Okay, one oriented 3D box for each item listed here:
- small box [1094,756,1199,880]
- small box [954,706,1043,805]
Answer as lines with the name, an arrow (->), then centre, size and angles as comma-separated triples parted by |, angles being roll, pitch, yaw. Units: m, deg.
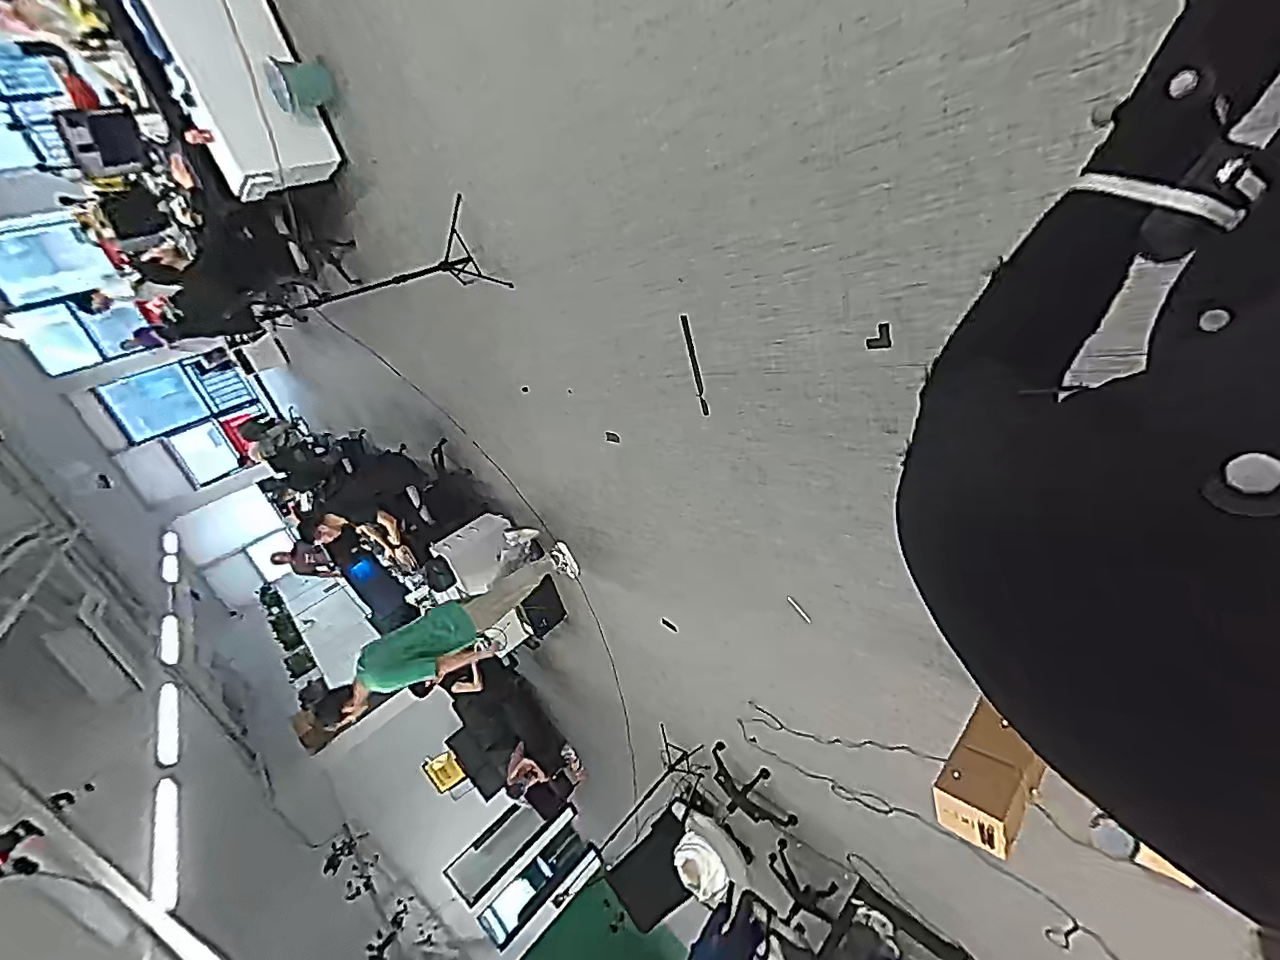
small box -> 1.282, 0.844, 1.370 | 0.179, 0.176, 0.168 | 8, 126, 49
small box -> 1.069, 0.809, 1.611 | 0.179, 0.176, 0.168 | 9, 127, 50
